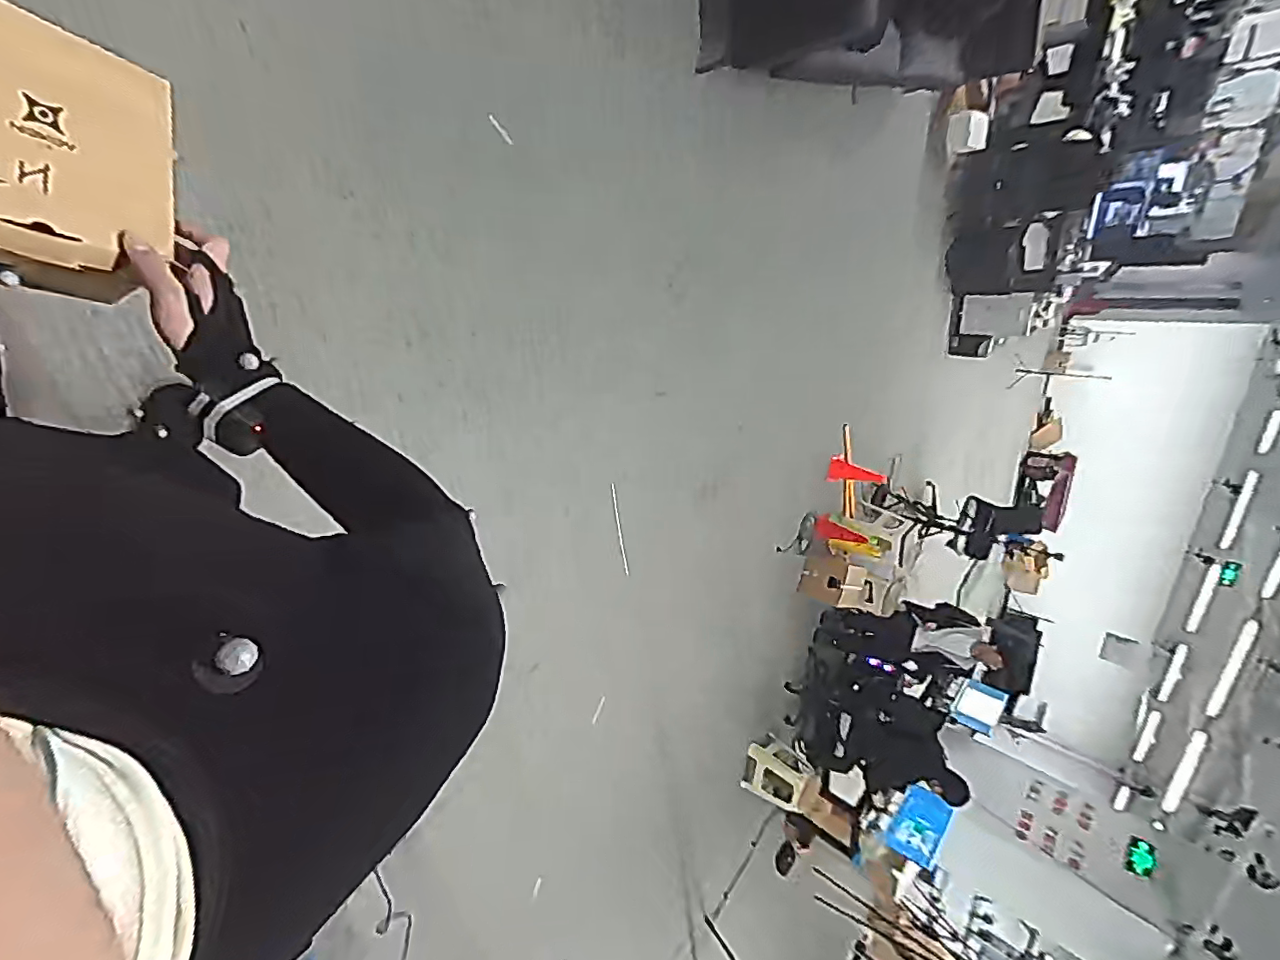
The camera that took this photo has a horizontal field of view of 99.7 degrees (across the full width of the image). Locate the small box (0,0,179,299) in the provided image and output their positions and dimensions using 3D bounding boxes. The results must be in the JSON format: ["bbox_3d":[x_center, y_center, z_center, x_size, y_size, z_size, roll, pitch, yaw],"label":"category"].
[{"bbox_3d":[-0.534,-0.277,0.459,0.168,0.176,0.179,11,83,-55],"label":"small box"}]
